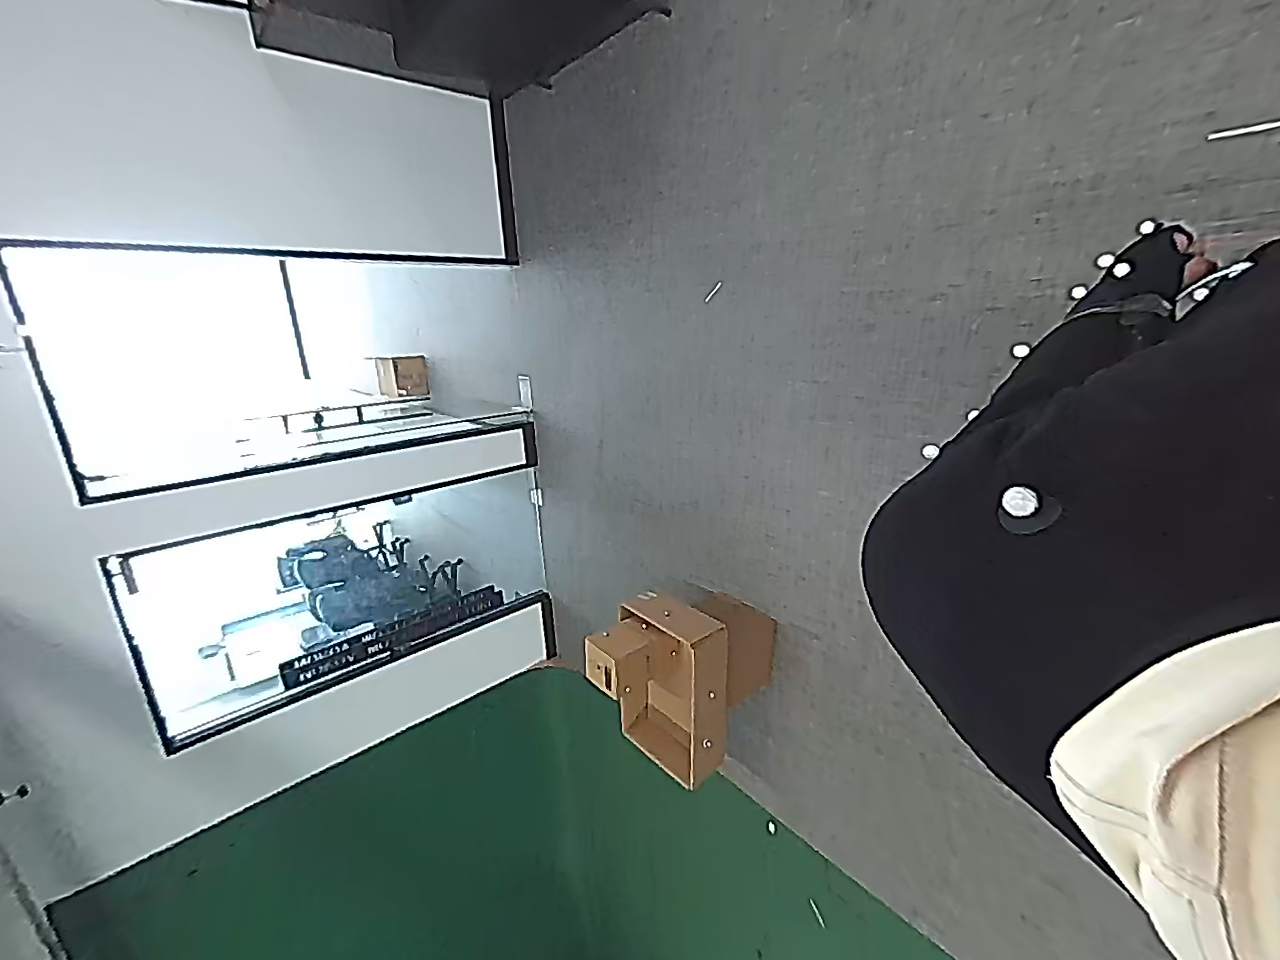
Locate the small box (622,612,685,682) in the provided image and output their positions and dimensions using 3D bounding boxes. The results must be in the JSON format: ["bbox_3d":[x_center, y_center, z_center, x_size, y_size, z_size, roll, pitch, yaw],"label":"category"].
[{"bbox_3d":[0.049,0.619,2.036,0.179,0.176,0.168,18,114,45],"label":"small box"}]
